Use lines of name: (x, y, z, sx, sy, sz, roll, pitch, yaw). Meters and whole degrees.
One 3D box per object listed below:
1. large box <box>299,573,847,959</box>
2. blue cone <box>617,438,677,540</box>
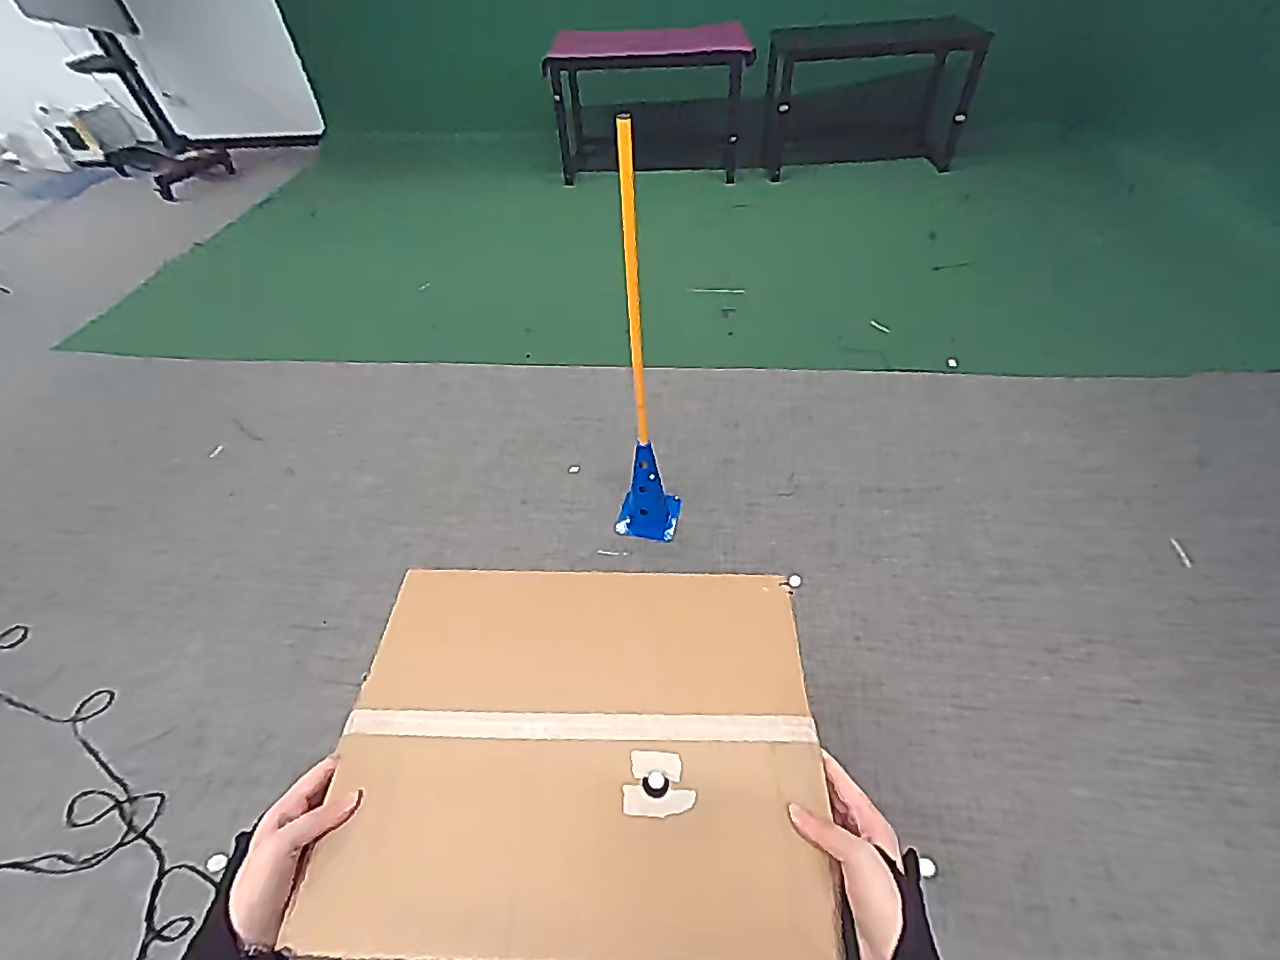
large box: (-0.049, 0.317, 0.595, 0.408, 0.320, 0.320, 1, 49, 0)
blue cone: (0.017, 0.016, 1.762, 0.193, 0.380, 0.192, 9, 49, 12)
